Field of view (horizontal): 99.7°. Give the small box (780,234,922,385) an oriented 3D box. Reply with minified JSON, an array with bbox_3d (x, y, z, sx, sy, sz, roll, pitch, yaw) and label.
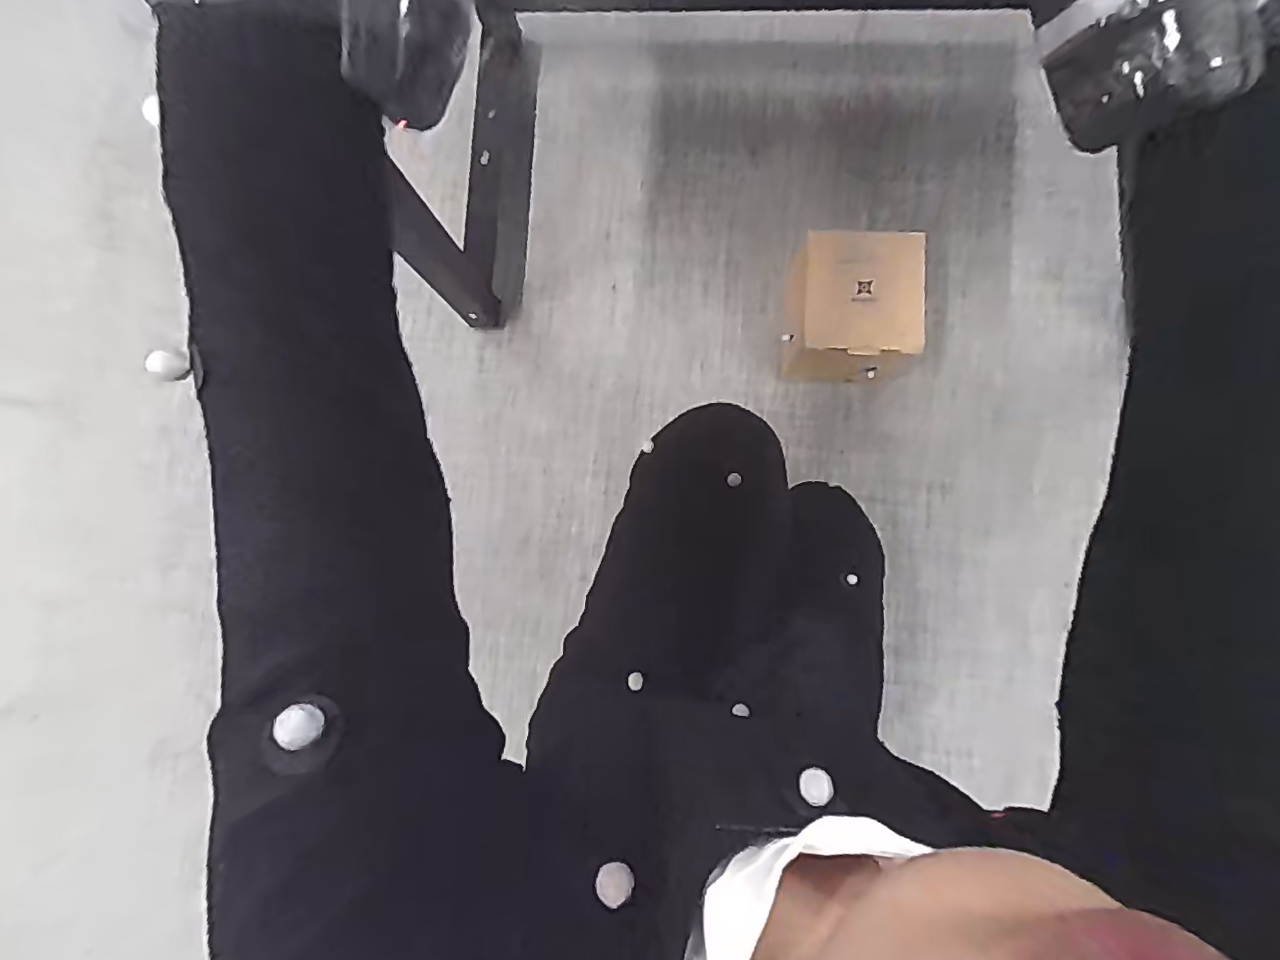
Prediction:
[{"bbox_3d":[0.317,-0.254,0.839,0.168,0.176,0.179,3,83,4],"label":"small box"}]
